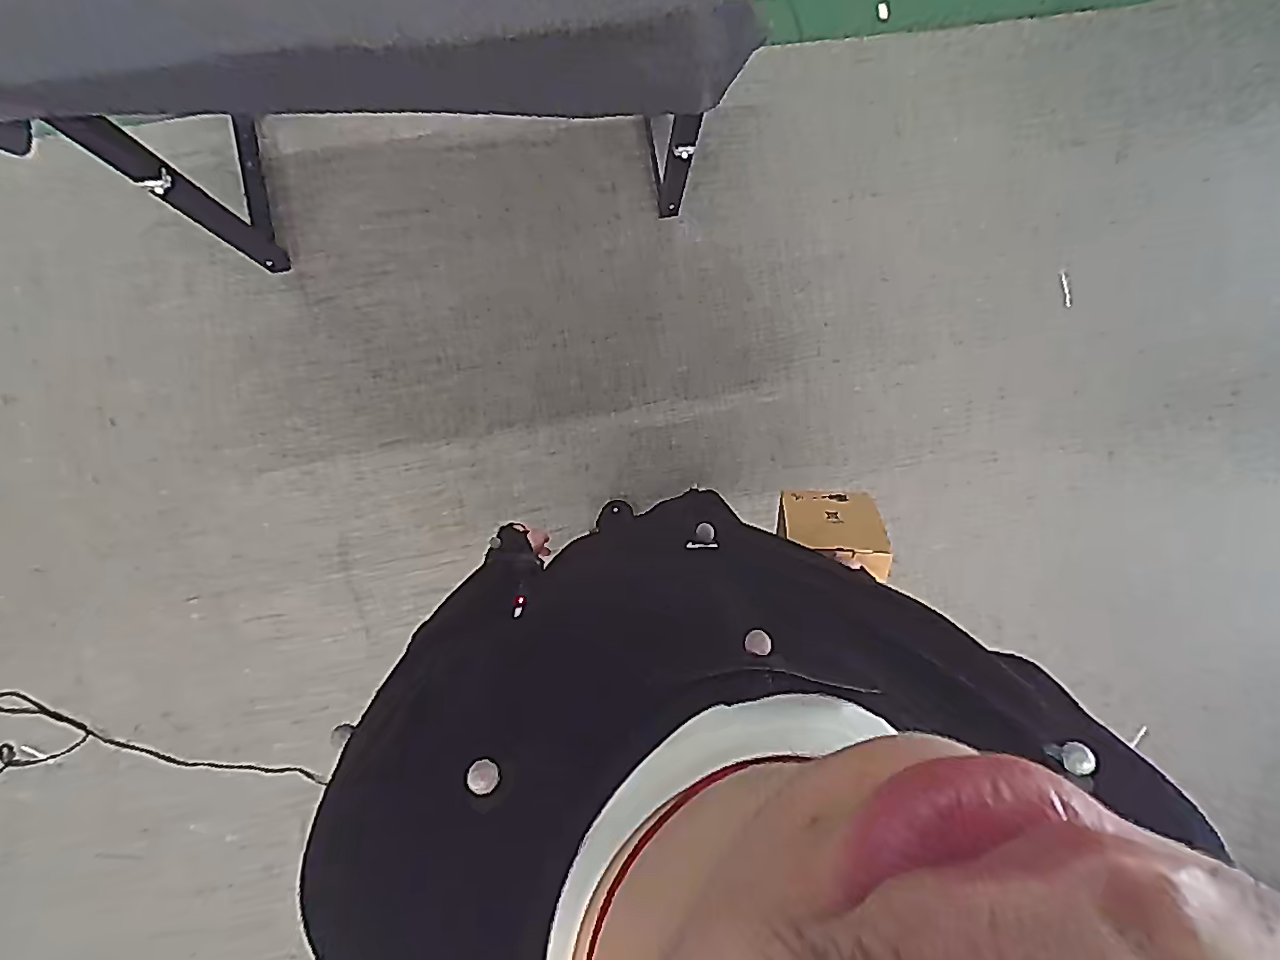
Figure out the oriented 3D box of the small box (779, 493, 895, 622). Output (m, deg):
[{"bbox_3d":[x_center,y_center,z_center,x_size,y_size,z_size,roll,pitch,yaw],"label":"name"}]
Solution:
[{"bbox_3d":[0.347,0.140,0.987,0.168,0.179,0.176,0,122,8],"label":"small box"}]
